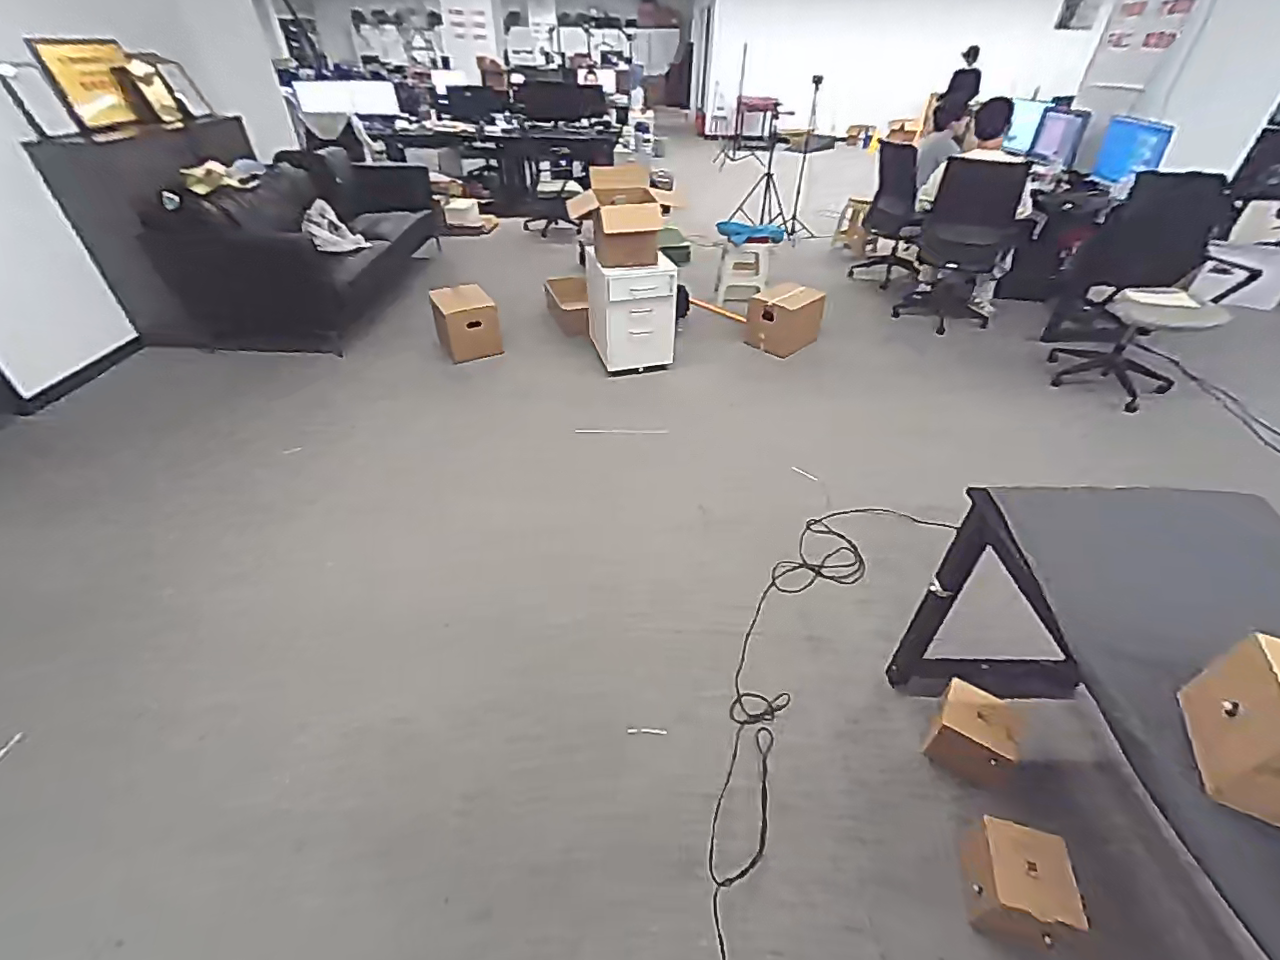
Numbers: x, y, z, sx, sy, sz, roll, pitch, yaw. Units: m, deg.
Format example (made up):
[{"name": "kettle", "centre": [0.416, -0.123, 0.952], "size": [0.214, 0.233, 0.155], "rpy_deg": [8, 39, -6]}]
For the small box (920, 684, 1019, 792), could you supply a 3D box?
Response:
[{"name": "small box", "centre": [0.882, 0.697, 1.456], "size": [0.179, 0.176, 0.168], "rpy_deg": [24, 43, 26]}]

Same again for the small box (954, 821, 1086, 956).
[{"name": "small box", "centre": [0.821, 0.900, 1.190], "size": [0.168, 0.176, 0.179], "rpy_deg": [11, 37, 11]}]
